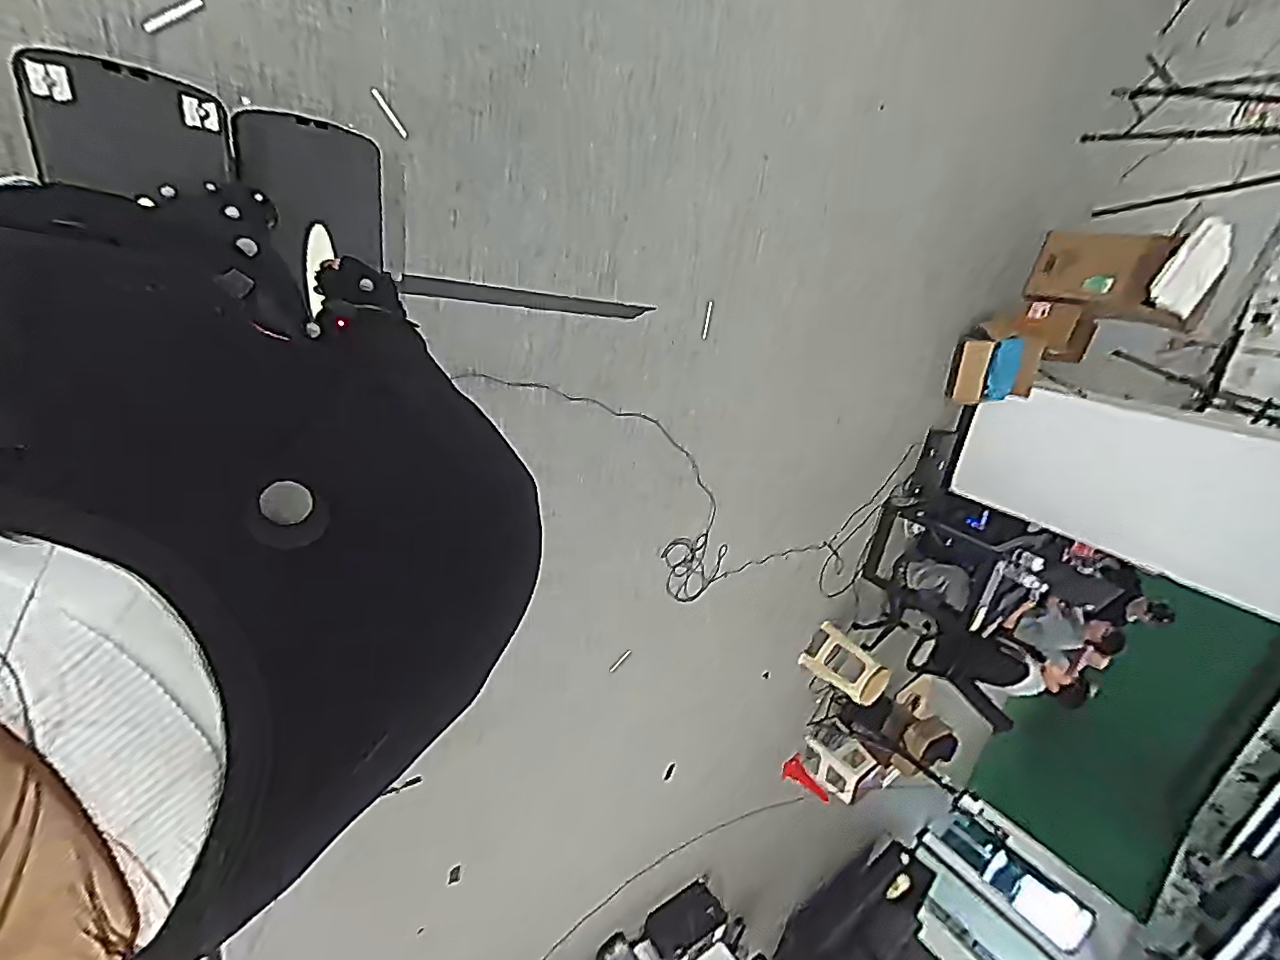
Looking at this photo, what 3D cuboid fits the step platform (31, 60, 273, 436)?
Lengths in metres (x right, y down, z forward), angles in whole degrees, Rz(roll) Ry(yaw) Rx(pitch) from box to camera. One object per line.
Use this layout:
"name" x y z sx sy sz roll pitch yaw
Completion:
"step platform" -0.967 -0.434 1.120 0.286 0.204 0.684 -9 116 -36
